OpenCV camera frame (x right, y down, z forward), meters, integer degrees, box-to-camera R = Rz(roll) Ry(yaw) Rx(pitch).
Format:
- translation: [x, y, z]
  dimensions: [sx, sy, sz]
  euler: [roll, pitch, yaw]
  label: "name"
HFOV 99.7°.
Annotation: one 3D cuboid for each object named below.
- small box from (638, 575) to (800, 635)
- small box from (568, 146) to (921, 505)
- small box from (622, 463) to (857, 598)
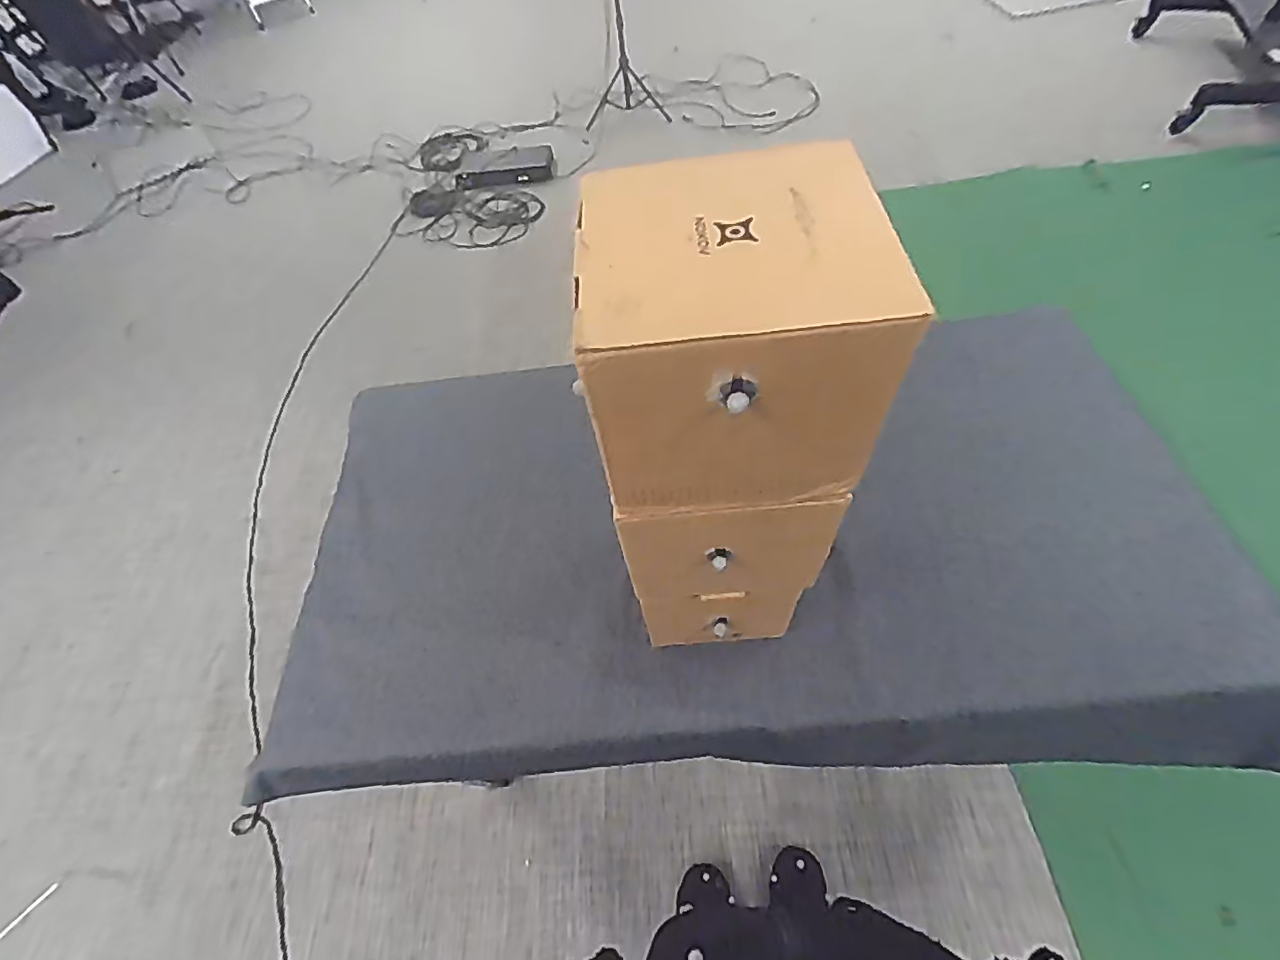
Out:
- translation: [0.085, 0.079, 0.649]
  dimensions: [0.168, 0.176, 0.179]
  euler: [-6, 58, 4]
  label: "small box"
- translation: [0.056, -0.094, 0.373]
  dimensions: [0.179, 0.176, 0.168]
  euler: [-5, 58, 3]
  label: "small box"
- translation: [0.073, -0.002, 0.506]
  dimensions: [0.179, 0.176, 0.168]
  euler: [-7, 57, 1]
  label: "small box"
